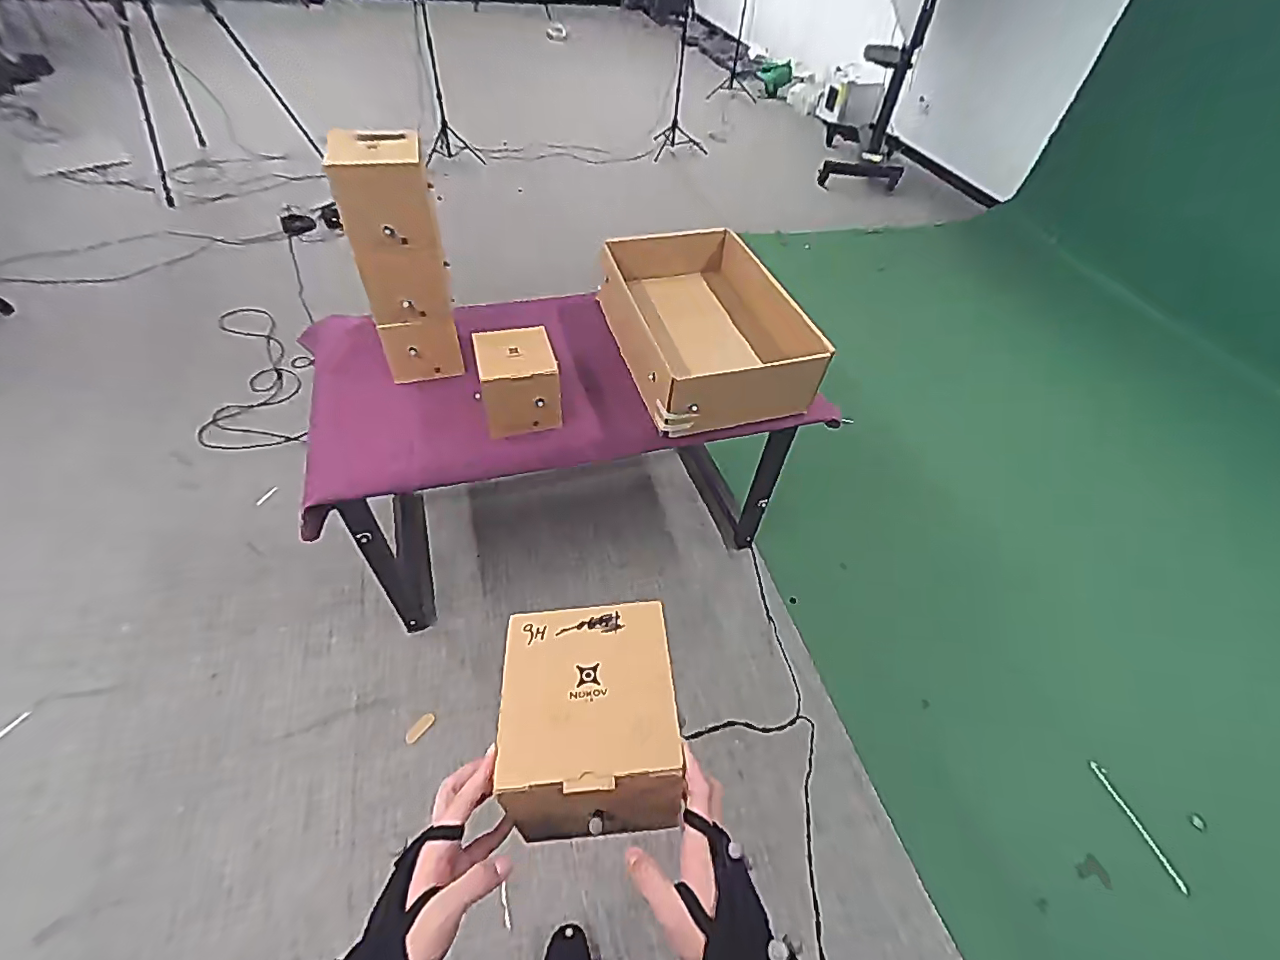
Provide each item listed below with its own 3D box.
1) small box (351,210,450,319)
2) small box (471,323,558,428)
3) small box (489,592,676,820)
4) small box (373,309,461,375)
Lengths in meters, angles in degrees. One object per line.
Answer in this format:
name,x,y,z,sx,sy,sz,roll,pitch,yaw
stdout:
small box,-0.527,-0.482,1.209,0.168,0.176,0.179,-9,52,-12
small box,-0.284,-0.233,1.237,0.168,0.176,0.179,-10,50,-15
small box,-0.052,0.244,0.577,0.168,0.176,0.179,-4,45,-3
small box,-0.545,-0.373,1.331,0.168,0.176,0.179,-12,51,-15
